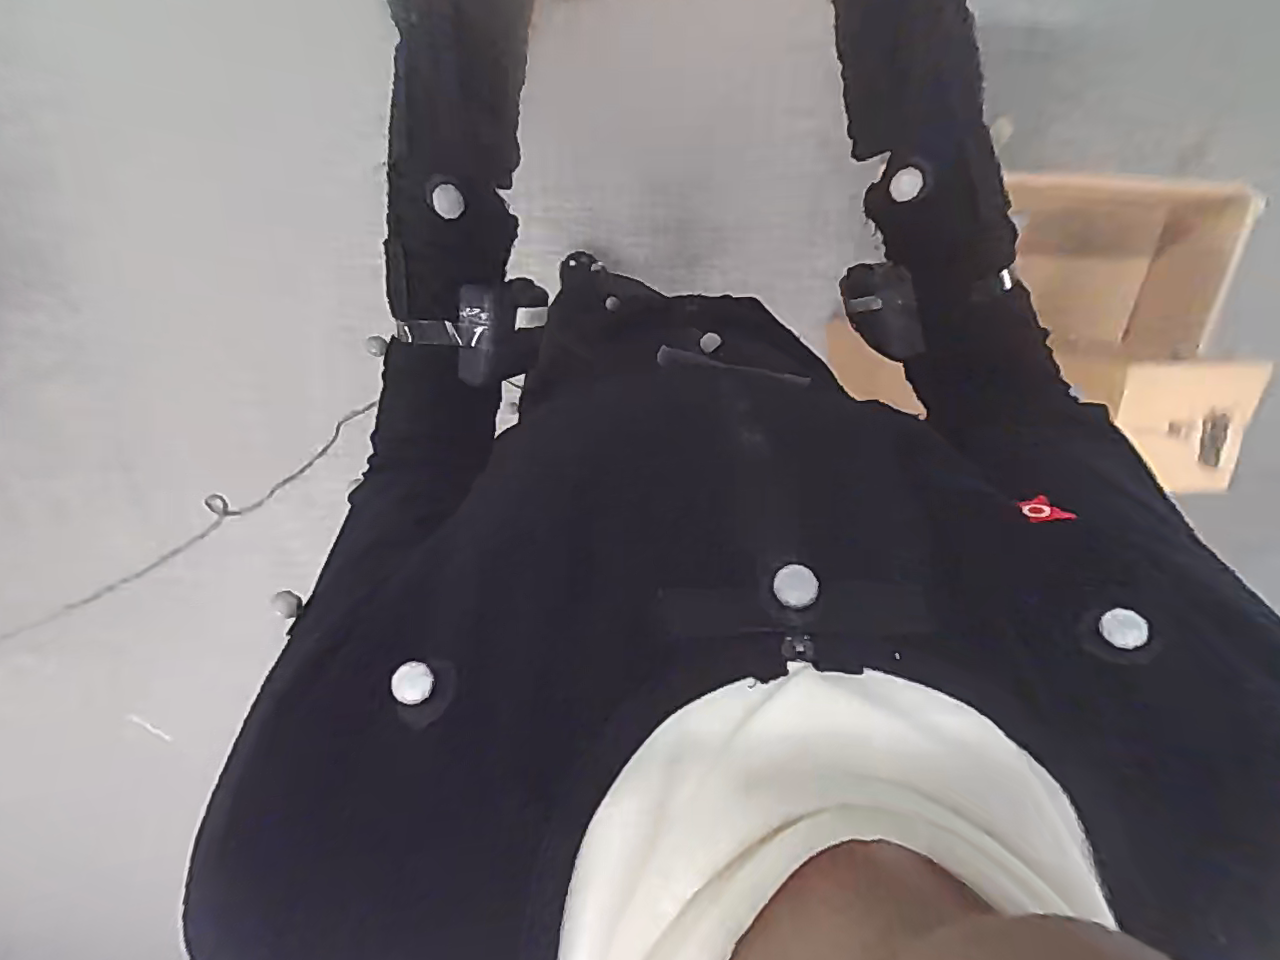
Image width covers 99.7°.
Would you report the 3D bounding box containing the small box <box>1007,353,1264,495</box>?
[{"bbox_3d":[0.662,-0.084,0.749,0.179,0.176,0.168,0,109,-1],"label":"small box"}]
